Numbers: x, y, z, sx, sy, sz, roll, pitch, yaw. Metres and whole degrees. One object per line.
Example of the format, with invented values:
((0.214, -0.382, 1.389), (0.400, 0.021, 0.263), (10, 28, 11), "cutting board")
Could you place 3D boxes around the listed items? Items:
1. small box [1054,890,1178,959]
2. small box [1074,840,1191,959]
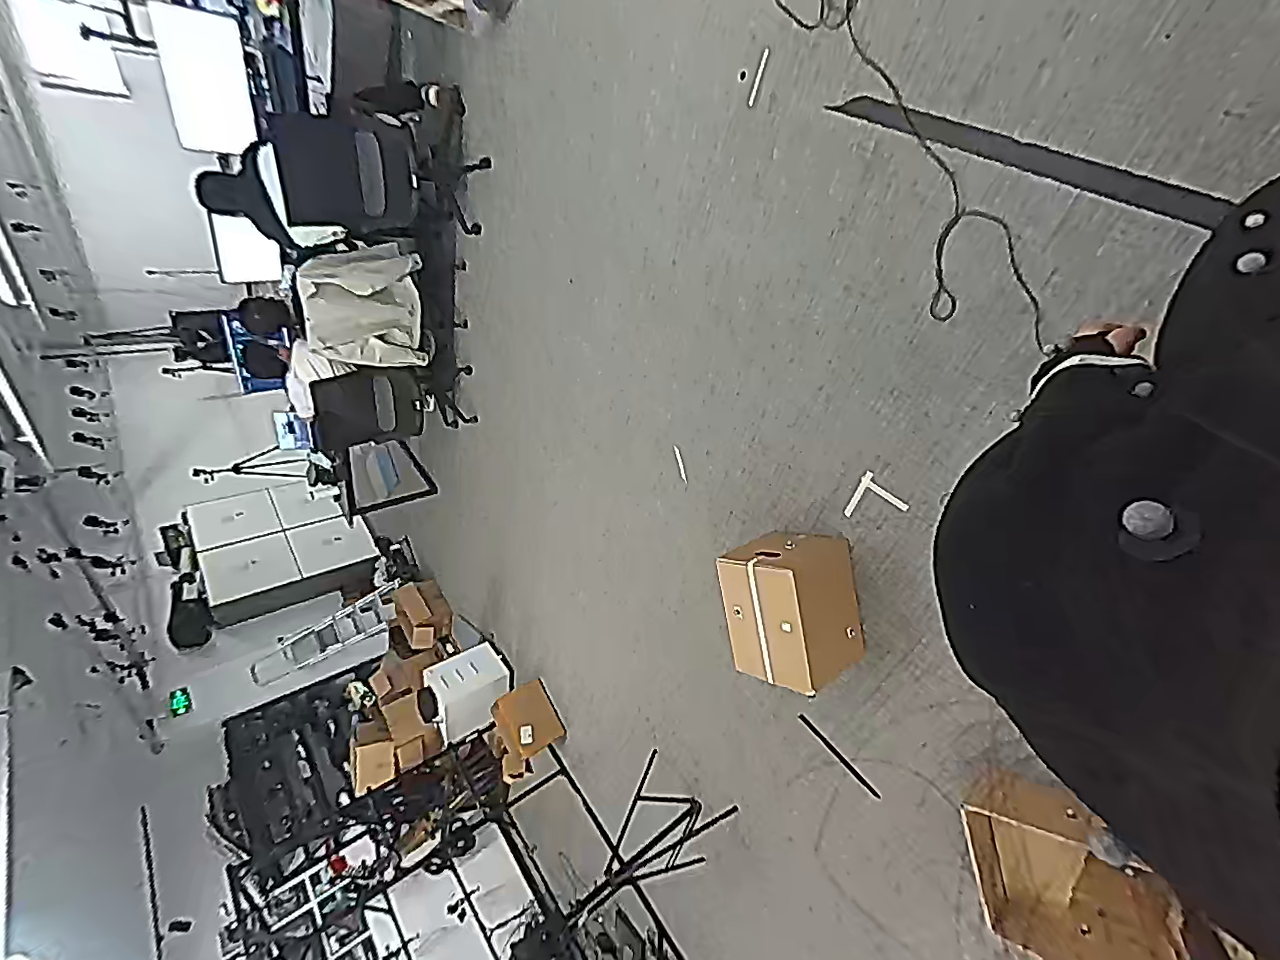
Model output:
((1.044, 1.054, 1.176), (0.168, 0.176, 0.179), (-16, 93, 55), "small box")
((1.164, 1.011, 1.277), (0.168, 0.176, 0.179), (-9, 97, 53), "small box")
